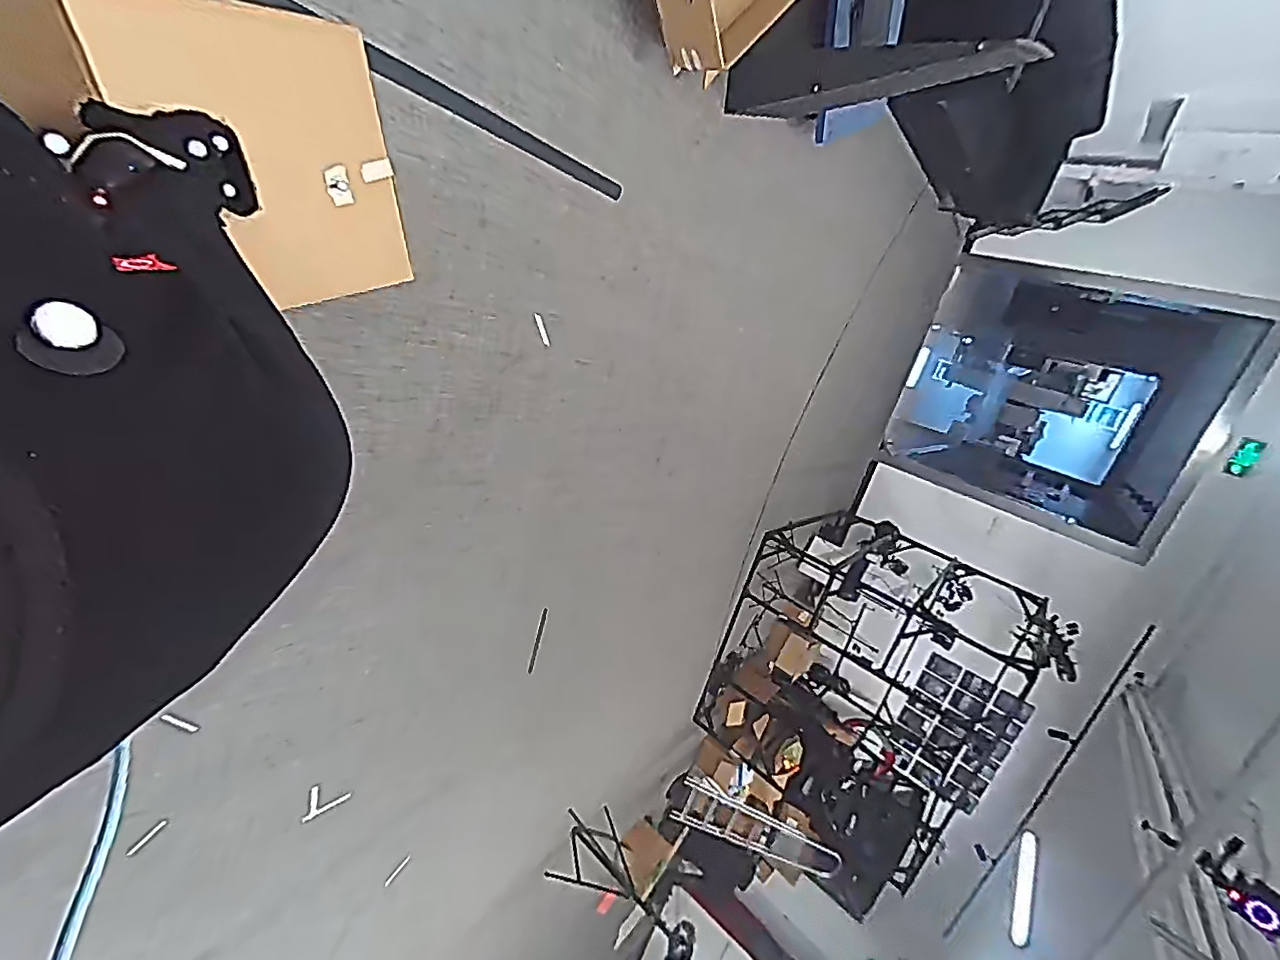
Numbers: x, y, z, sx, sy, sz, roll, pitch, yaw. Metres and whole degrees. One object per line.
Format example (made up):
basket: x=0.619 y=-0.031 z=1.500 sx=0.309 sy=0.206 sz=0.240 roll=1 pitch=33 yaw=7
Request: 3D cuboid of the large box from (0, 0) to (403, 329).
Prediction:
large box: x=-0.611 y=-0.417 z=0.737 sx=0.320 sy=0.408 sz=0.320 roll=-43 pitch=140 yaw=-49
